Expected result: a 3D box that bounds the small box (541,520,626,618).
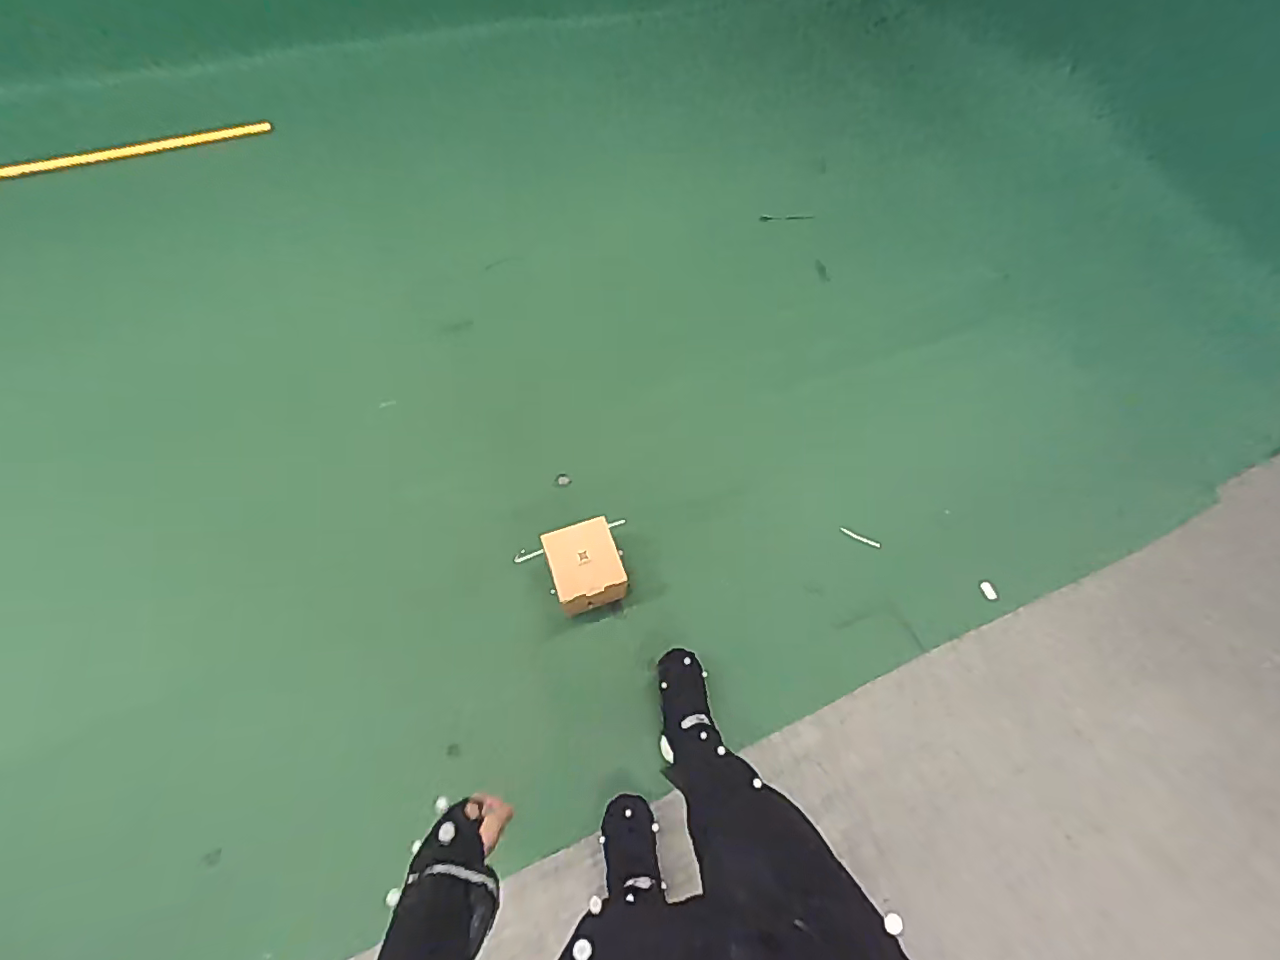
[{"bbox_3d":[-0.145,0.228,1.365,0.168,0.176,0.179,-17,68,-13],"label":"small box"}]
